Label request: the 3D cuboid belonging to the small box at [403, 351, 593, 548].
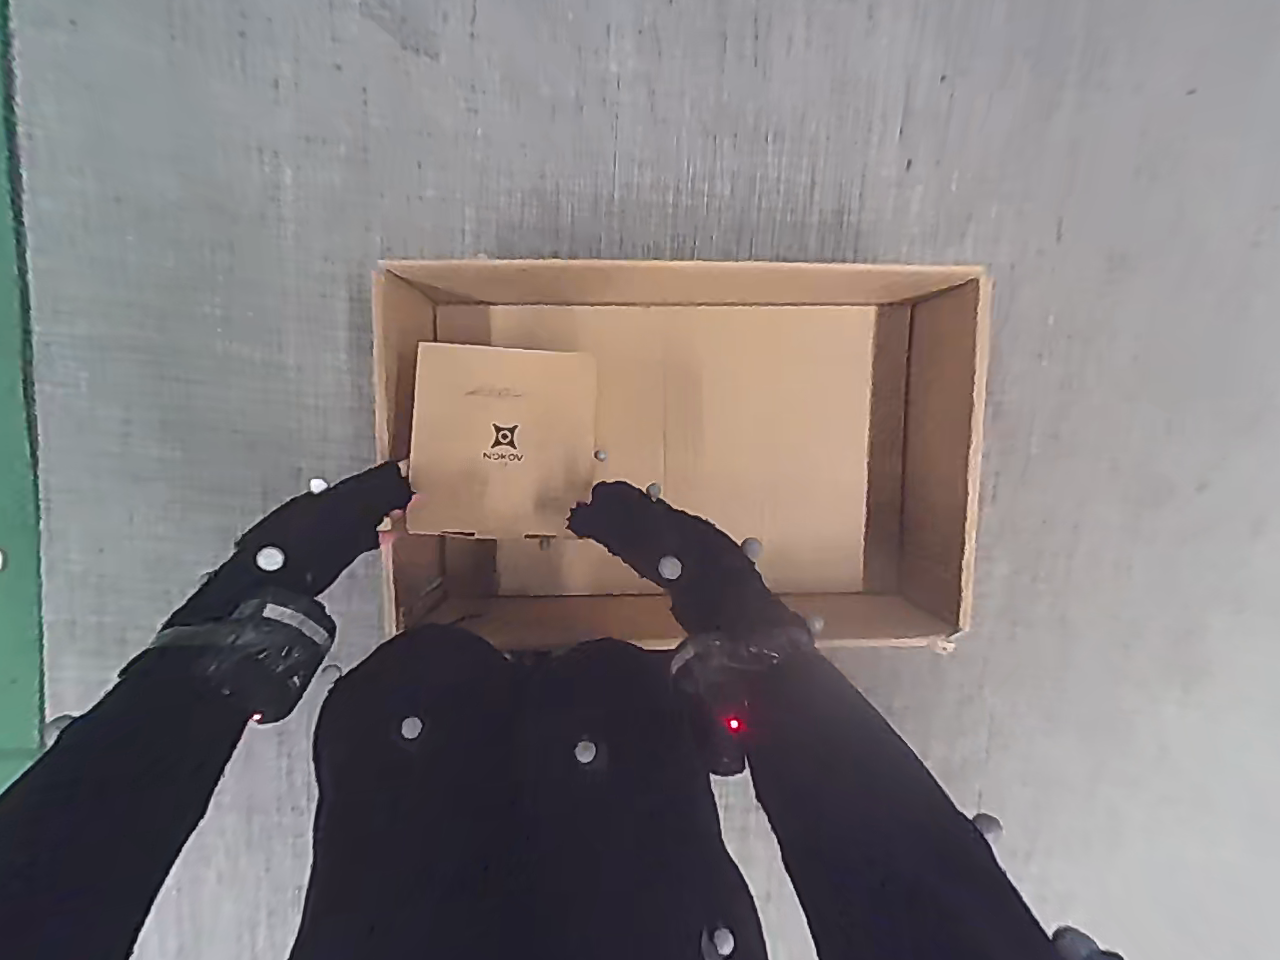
[{"bbox_3d":[-0.133,-0.024,0.561,0.168,0.176,0.179,-2,85,-5],"label":"small box"}]
